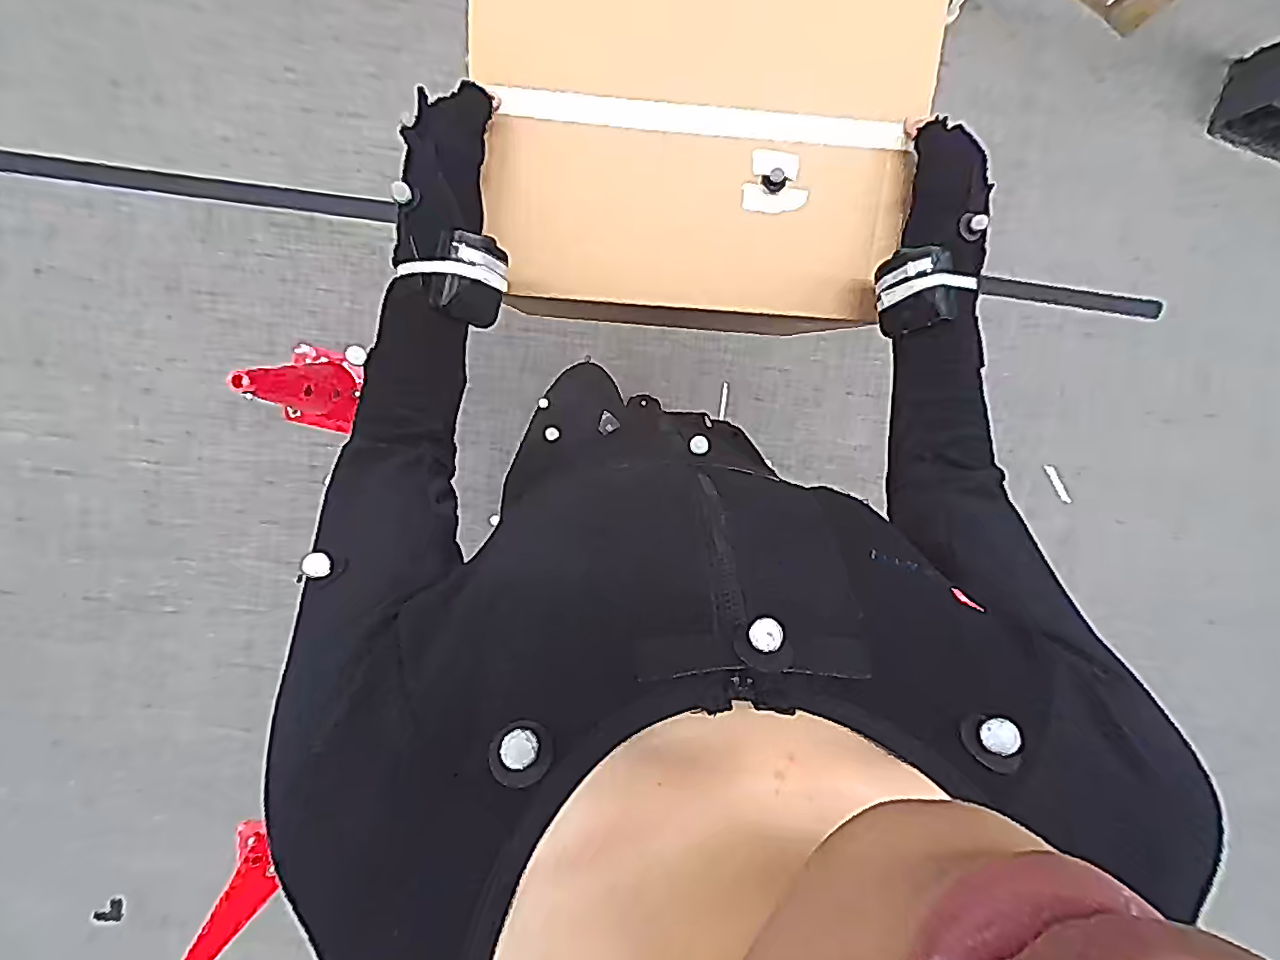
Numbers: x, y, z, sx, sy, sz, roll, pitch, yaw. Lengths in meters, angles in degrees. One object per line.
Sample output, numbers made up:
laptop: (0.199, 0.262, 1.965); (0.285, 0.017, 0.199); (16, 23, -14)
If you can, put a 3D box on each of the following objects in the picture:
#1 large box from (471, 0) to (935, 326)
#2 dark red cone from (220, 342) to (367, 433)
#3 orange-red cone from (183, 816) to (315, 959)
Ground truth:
large box: (0.043, -0.355, 0.622); (0.408, 0.320, 0.320); (3, 103, -4)
dark red cone: (-0.779, -0.215, 1.192); (0.201, 0.394, 0.202); (12, 96, -7)
orange-red cone: (-1.000, 1.058, 1.341); (0.198, 0.360, 0.199); (4, 97, -4)
